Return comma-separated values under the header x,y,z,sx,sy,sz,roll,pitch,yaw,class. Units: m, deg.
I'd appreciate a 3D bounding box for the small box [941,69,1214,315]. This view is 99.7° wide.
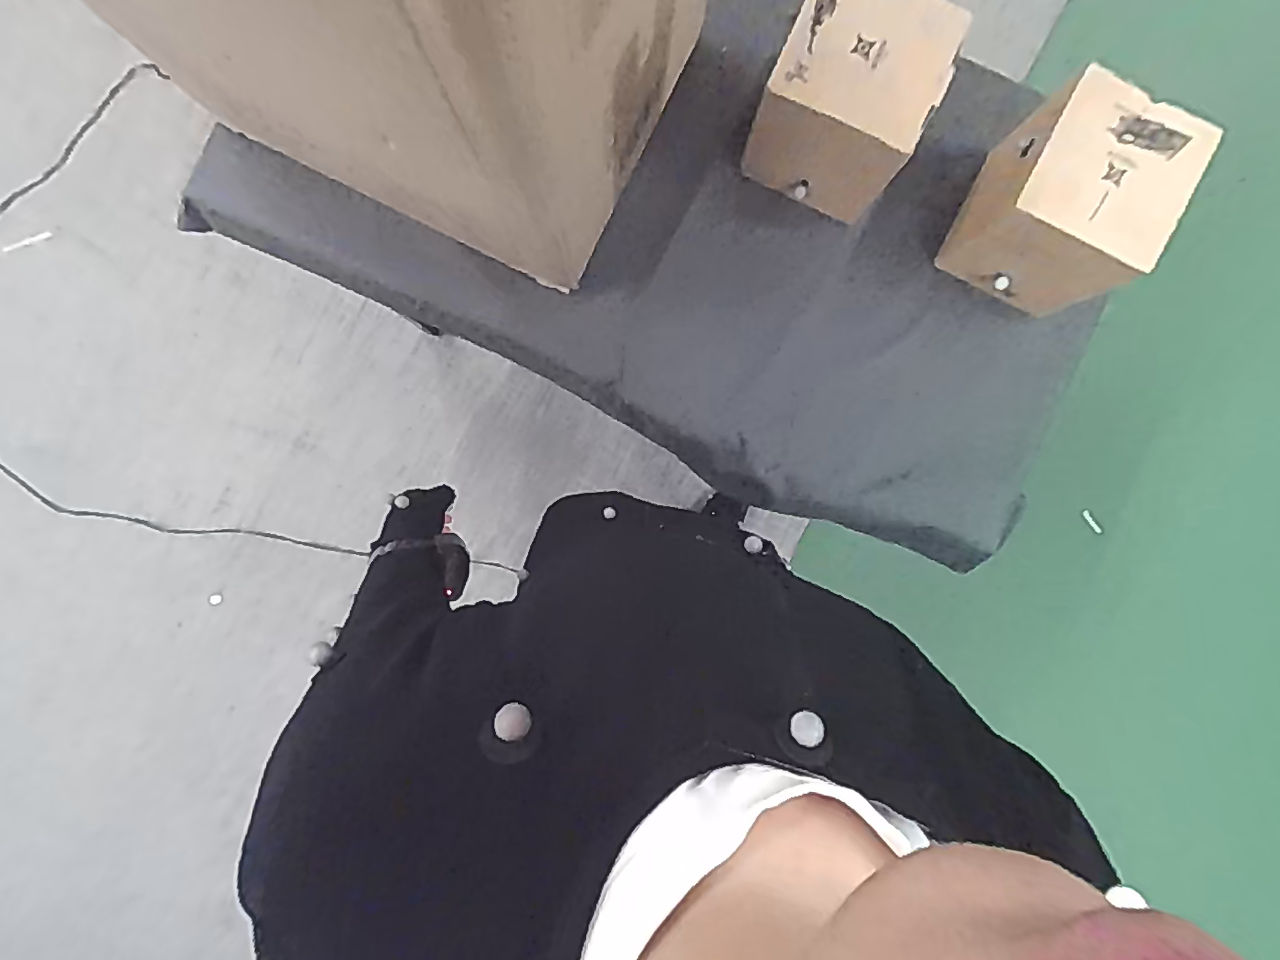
x,y,z,sx,sy,sz,roll,pitch,yaw,class
0.517,-0.337,0.669,0.168,0.176,0.179,27,91,0,small box
